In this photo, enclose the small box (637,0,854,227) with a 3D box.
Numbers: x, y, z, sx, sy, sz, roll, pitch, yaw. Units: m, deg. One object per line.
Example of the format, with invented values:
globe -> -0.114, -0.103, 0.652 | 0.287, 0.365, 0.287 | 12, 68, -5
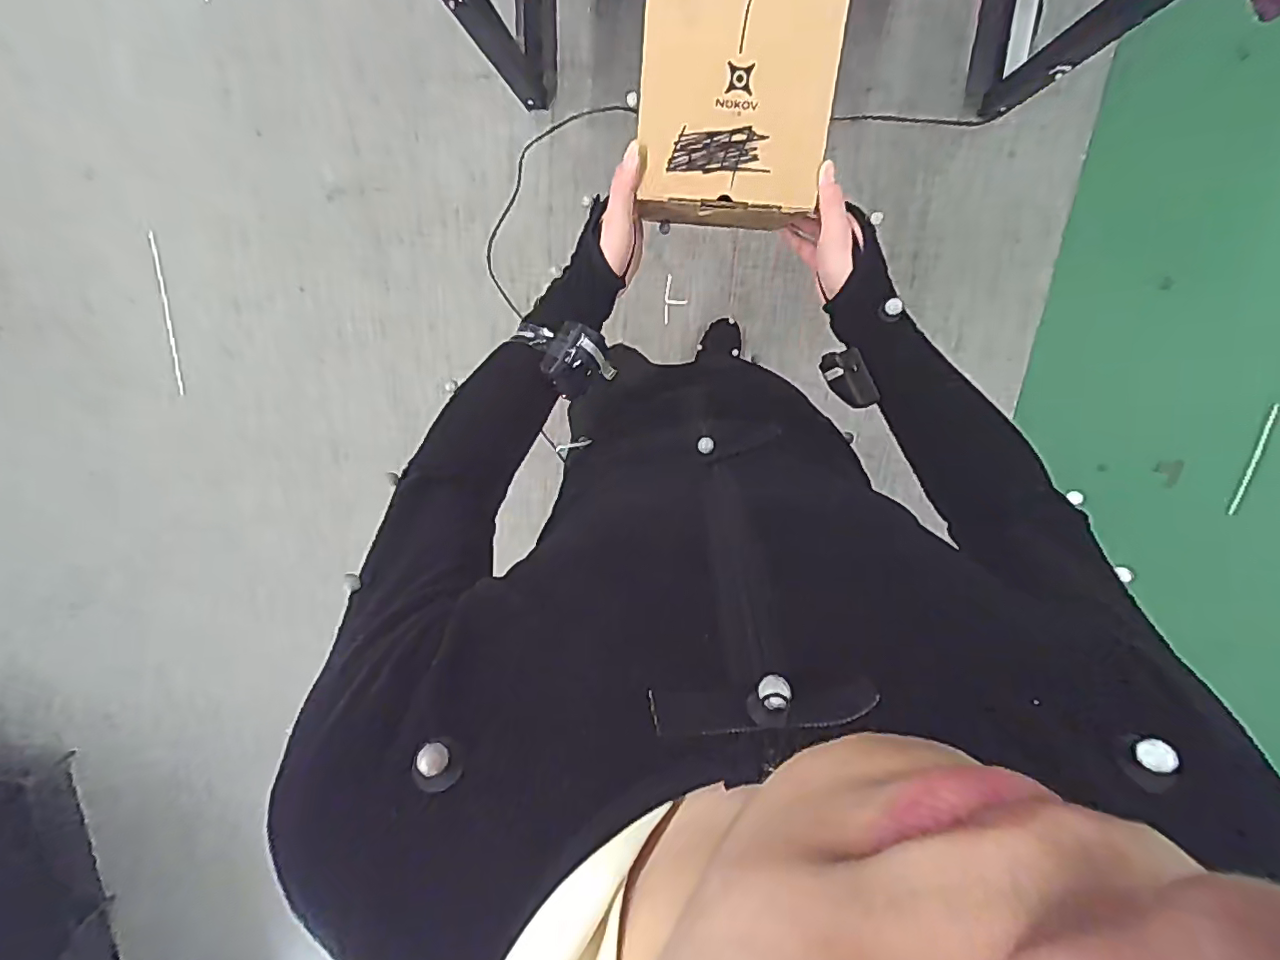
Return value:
small box -> 0.086, -0.353, 0.525 | 0.168, 0.176, 0.179 | 4, 108, -1
